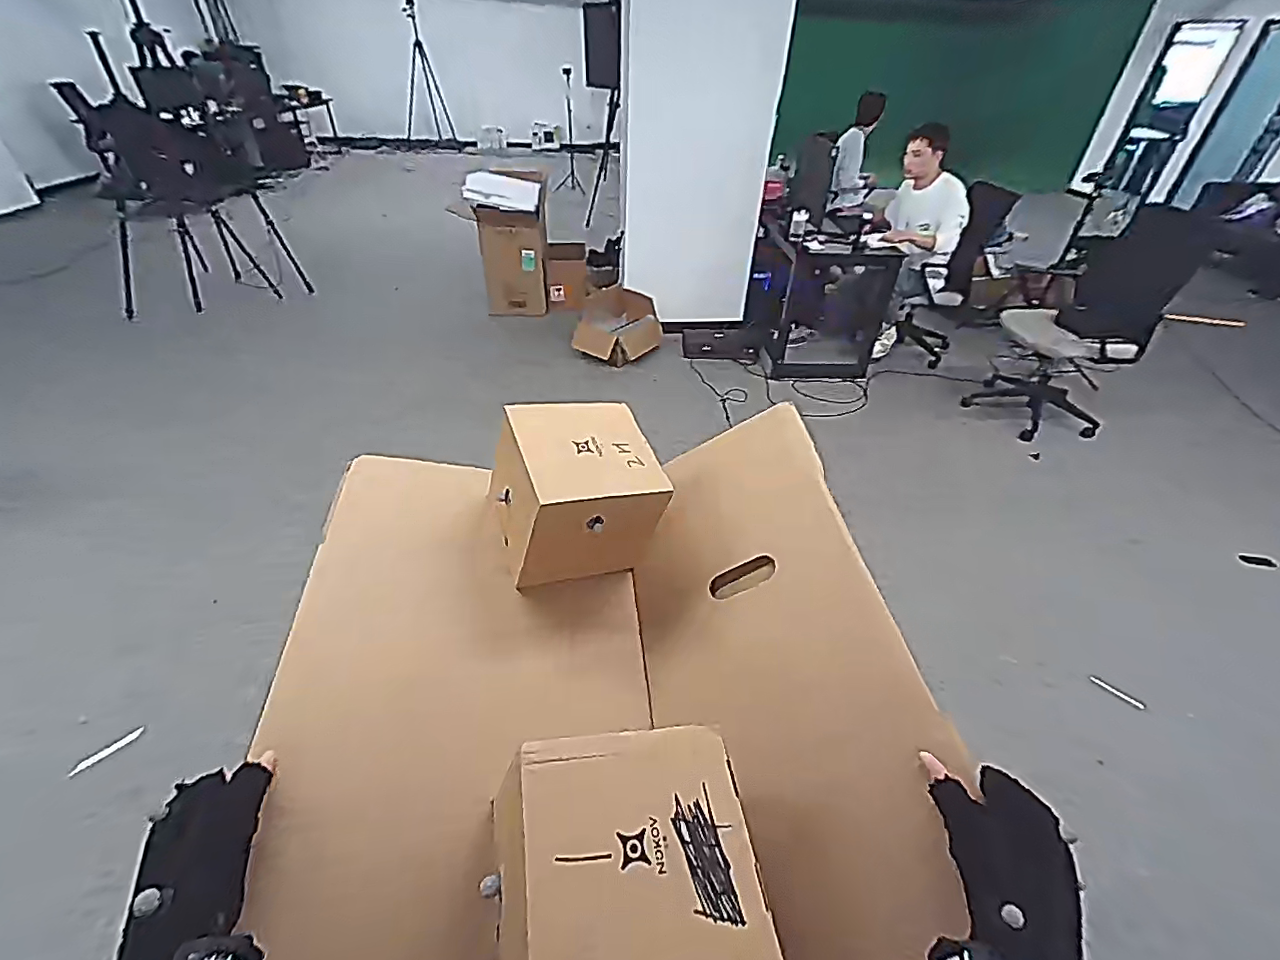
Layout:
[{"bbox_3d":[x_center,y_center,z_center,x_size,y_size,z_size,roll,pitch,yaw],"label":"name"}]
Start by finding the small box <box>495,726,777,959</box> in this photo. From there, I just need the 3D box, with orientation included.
[{"bbox_3d":[-0.021,0.323,0.453,0.179,0.176,0.168,4,47,-20],"label":"small box"}]

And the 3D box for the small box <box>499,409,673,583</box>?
[{"bbox_3d":[-0.085,0.021,0.726,0.179,0.176,0.168,-4,49,-28],"label":"small box"}]
